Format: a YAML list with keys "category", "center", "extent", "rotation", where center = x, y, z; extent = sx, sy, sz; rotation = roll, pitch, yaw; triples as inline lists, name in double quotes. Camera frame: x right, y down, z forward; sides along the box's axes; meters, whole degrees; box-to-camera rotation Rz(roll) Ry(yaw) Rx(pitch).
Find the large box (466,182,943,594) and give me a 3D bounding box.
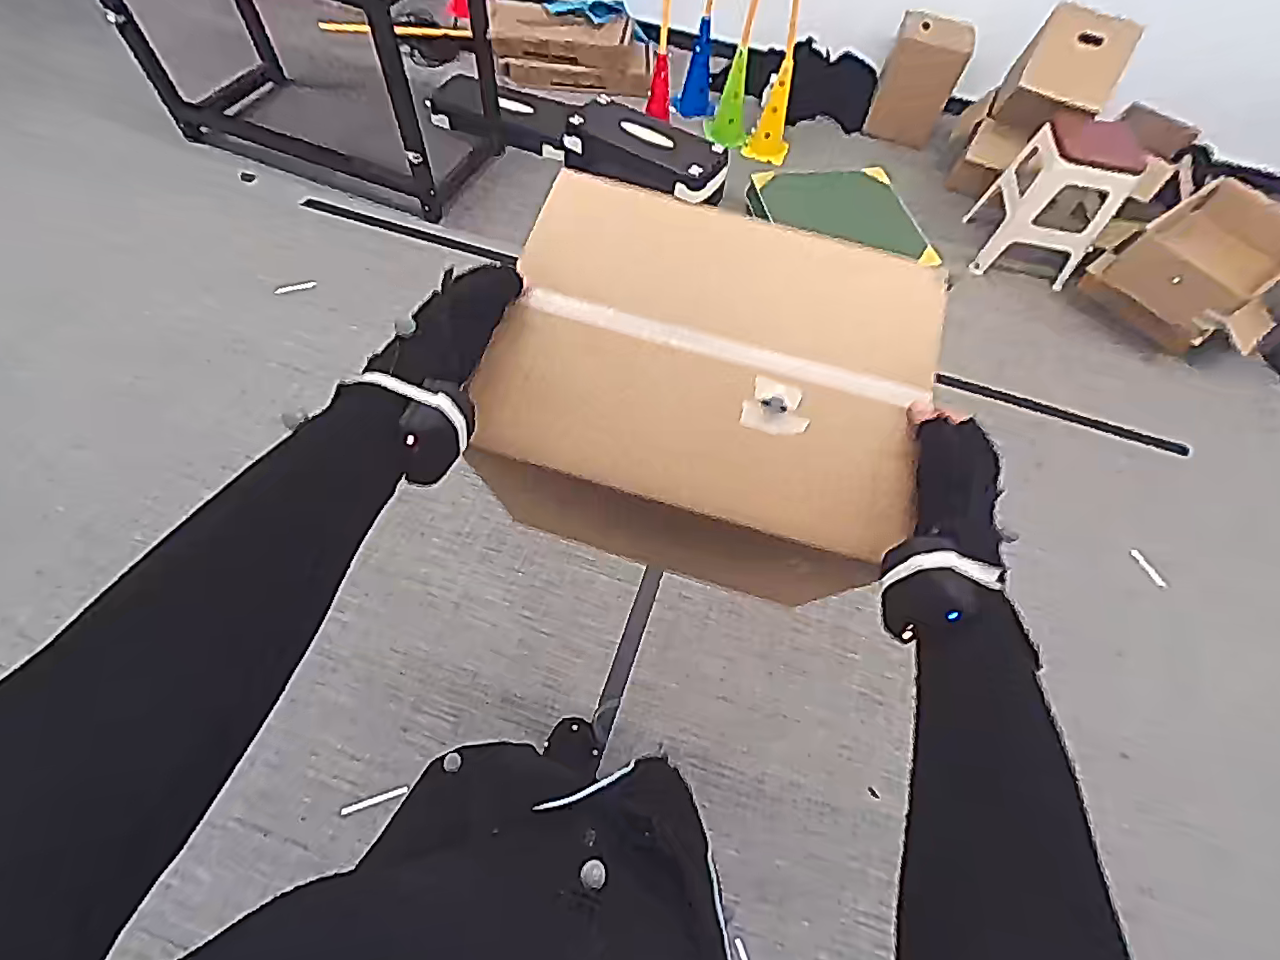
- category: "large box"
  center: [0.069, -0.078, 0.654]
  extent: [0.408, 0.320, 0.320]
  rotation: [17, 74, 4]
